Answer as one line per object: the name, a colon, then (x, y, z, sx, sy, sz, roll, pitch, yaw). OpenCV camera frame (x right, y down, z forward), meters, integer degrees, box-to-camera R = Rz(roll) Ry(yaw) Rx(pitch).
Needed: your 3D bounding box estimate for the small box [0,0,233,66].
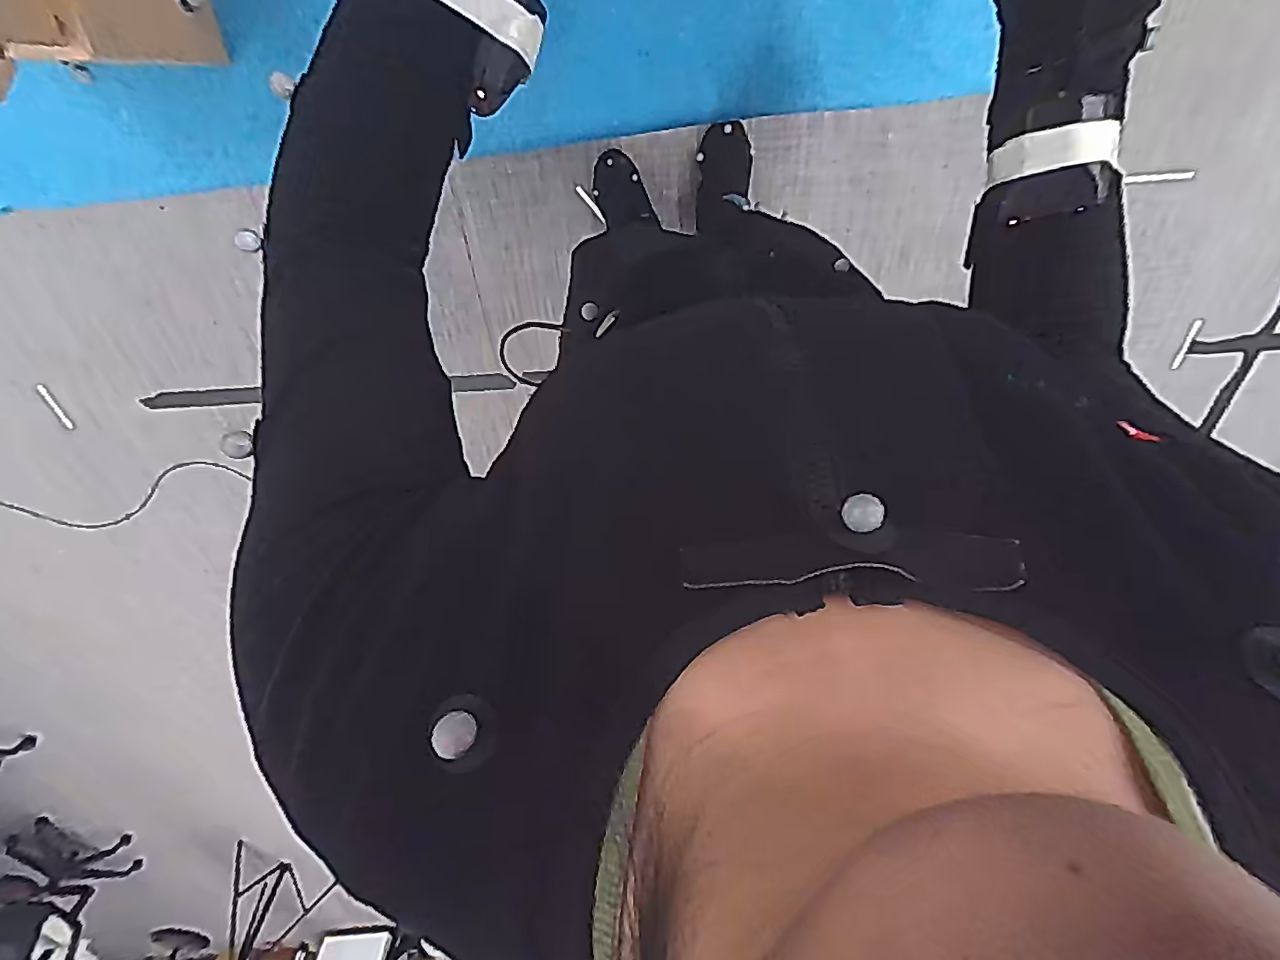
small box: (-0.465, -0.421, 0.400, 0.168, 0.176, 0.179, 0, 126, -1)
